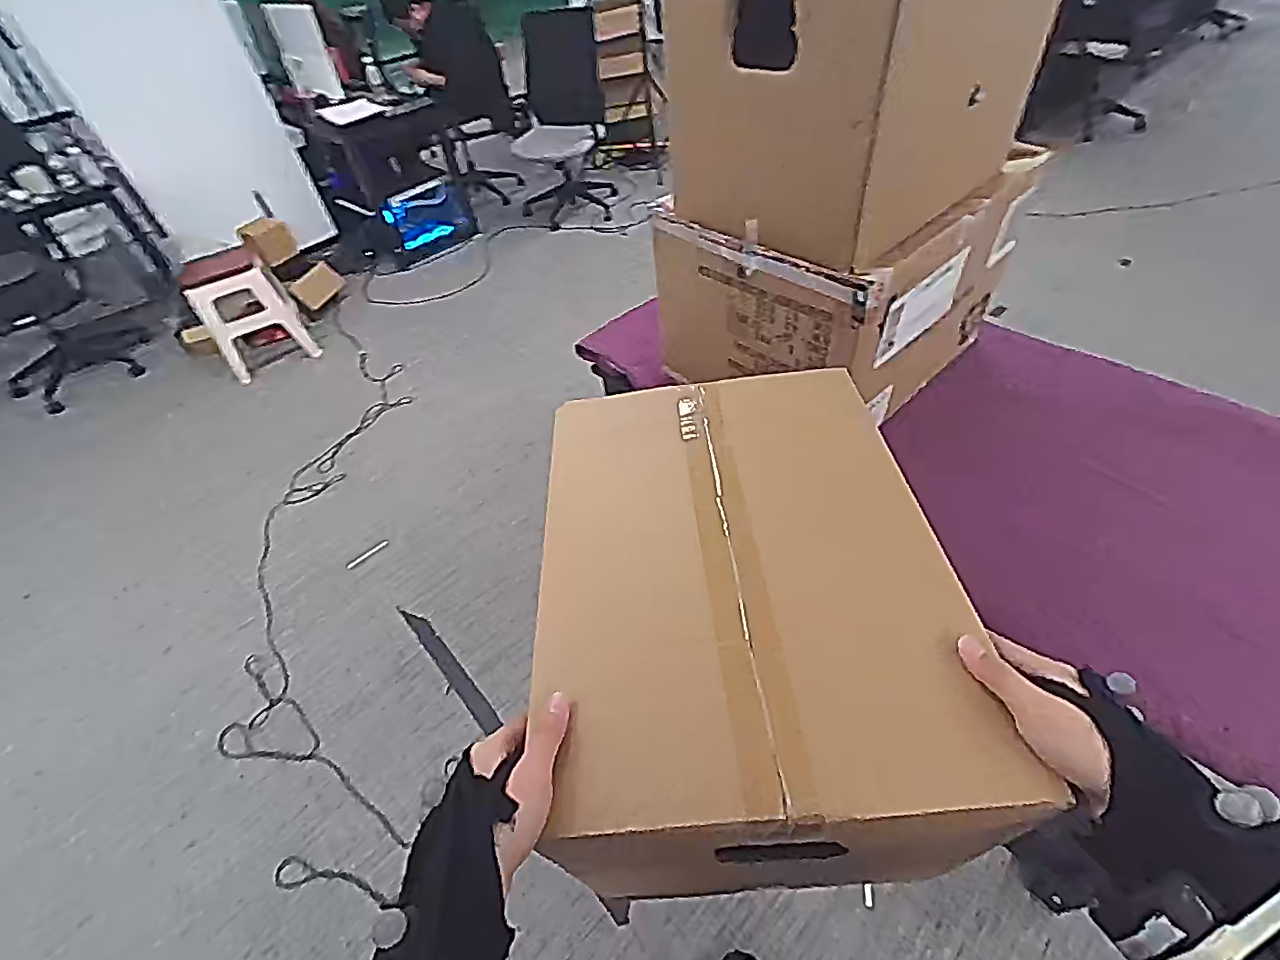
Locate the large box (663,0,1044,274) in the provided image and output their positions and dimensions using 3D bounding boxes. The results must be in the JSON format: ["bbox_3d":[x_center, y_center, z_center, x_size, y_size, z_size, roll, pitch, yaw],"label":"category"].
[{"bbox_3d":[0.280,-0.534,0.720,0.408,0.320,0.320,-39,52,-24],"label":"large box"}]
